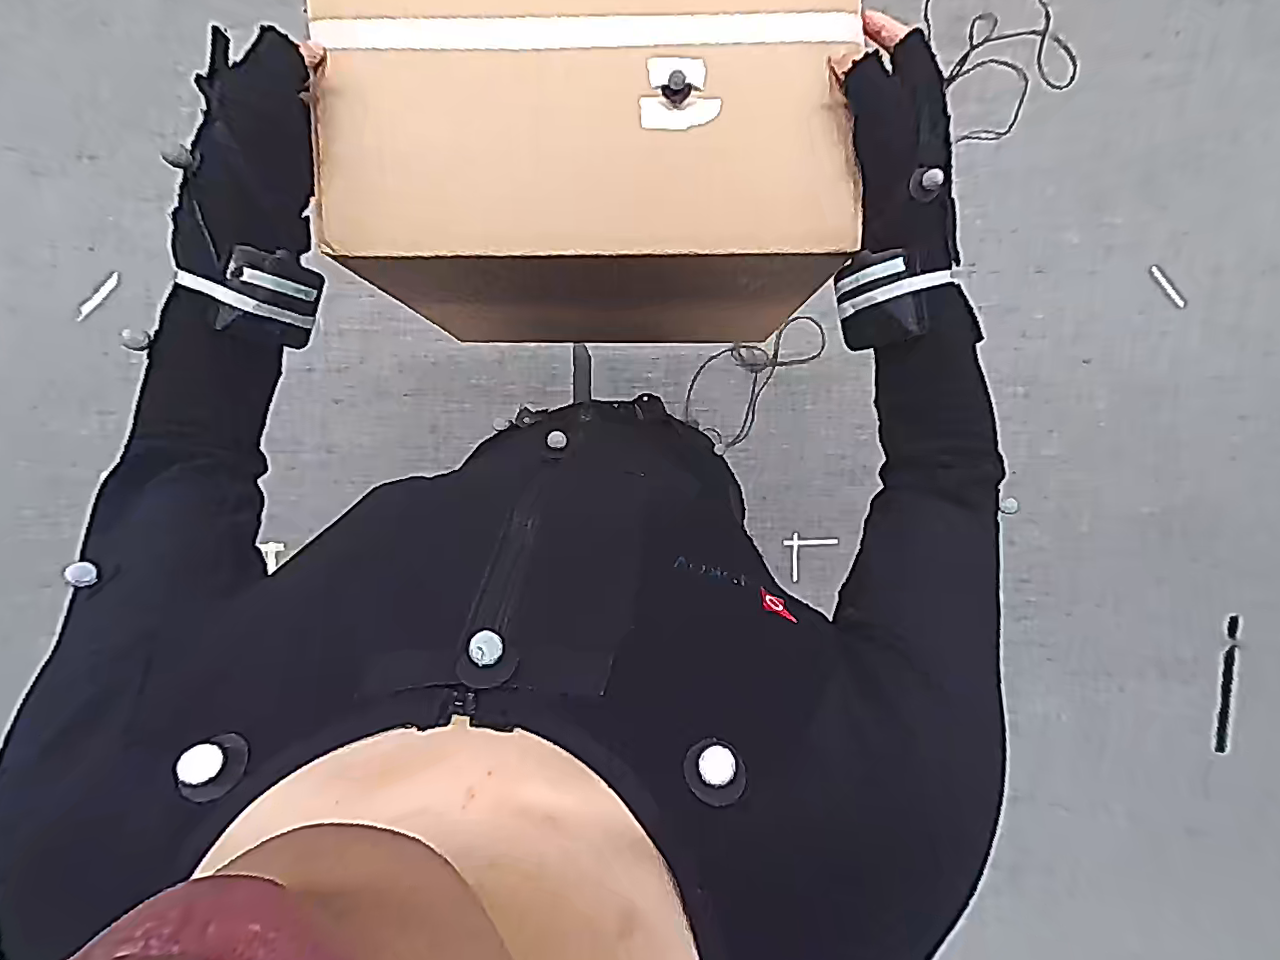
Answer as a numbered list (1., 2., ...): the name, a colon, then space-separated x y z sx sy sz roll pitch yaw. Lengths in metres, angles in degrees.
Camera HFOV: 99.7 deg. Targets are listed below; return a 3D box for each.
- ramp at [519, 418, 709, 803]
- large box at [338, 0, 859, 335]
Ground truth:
1. ramp: -0.072 0.326 1.439 0.509 0.206 0.991 -2 93 1
2. large box: -0.034 -0.344 0.560 0.408 0.320 0.320 0 93 0
